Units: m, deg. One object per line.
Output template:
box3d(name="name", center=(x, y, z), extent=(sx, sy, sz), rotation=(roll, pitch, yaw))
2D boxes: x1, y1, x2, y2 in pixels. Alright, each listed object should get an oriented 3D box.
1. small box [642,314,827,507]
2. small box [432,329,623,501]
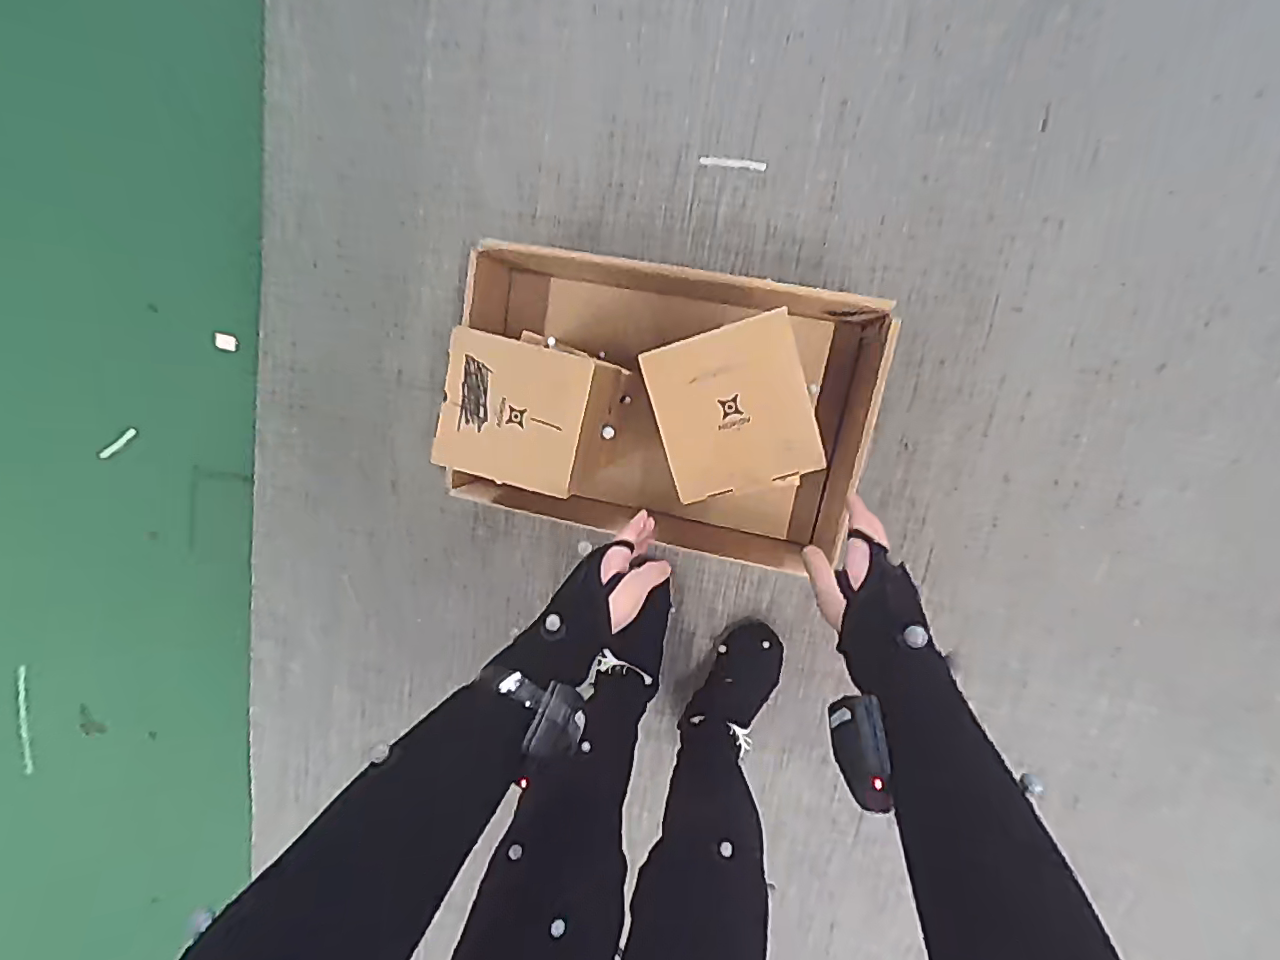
box3d(name="small box", center=(0.115, -0.084, 0.656), extent=(0.168, 0.176, 0.179), rotation=(-15, 96, 12))
box3d(name="small box", center=(-0.135, -0.085, 0.700), extent=(0.179, 0.176, 0.168), rotation=(15, 100, 6))
